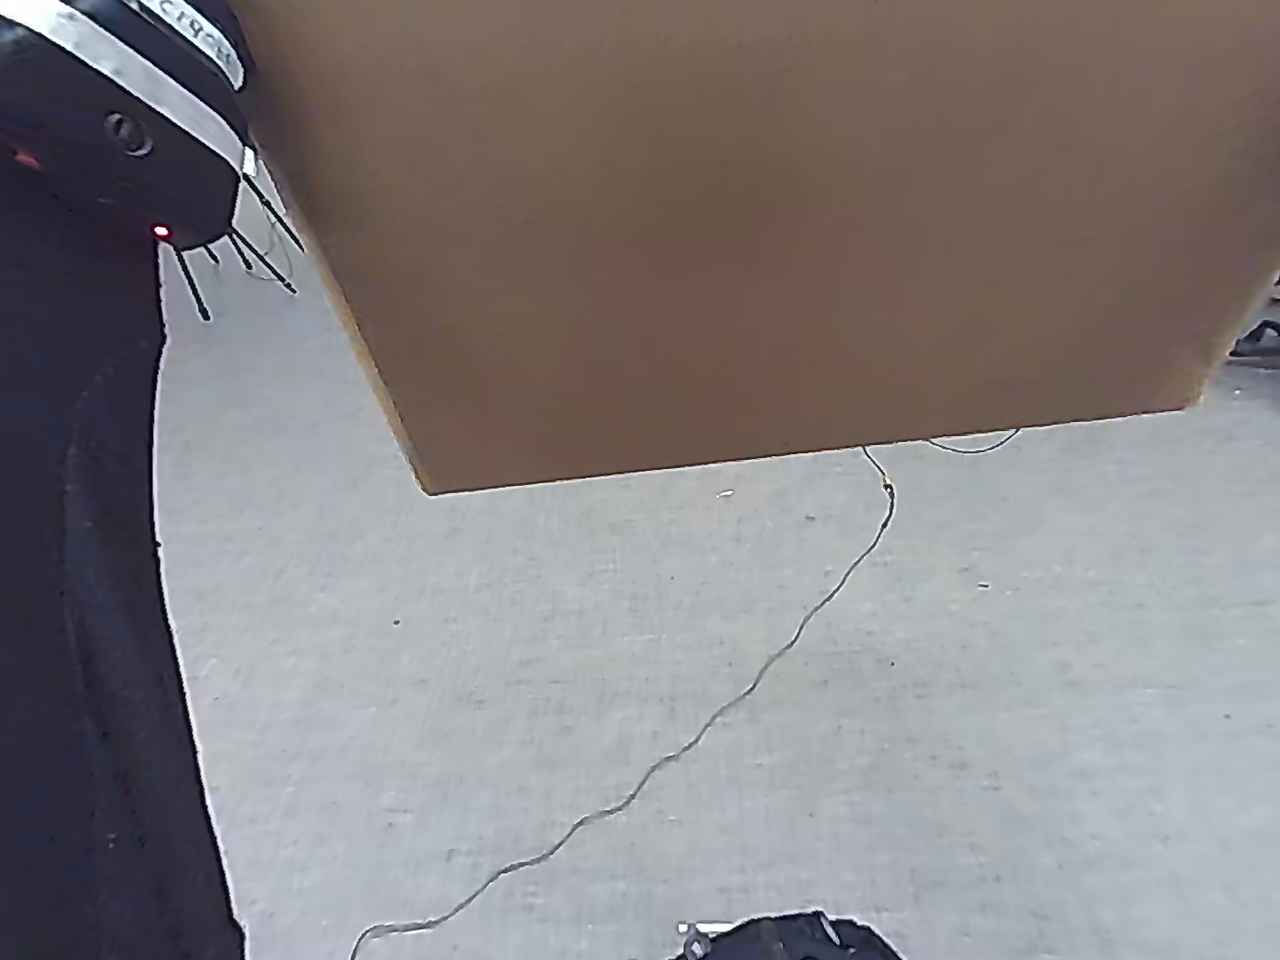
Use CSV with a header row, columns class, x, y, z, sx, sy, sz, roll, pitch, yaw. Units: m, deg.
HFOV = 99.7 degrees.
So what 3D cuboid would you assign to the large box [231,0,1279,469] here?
class,x,y,z,sx,sy,sz,roll,pitch,yaw
large box,0.058,-0.232,0.307,0.408,0.320,0.320,-6,40,0
